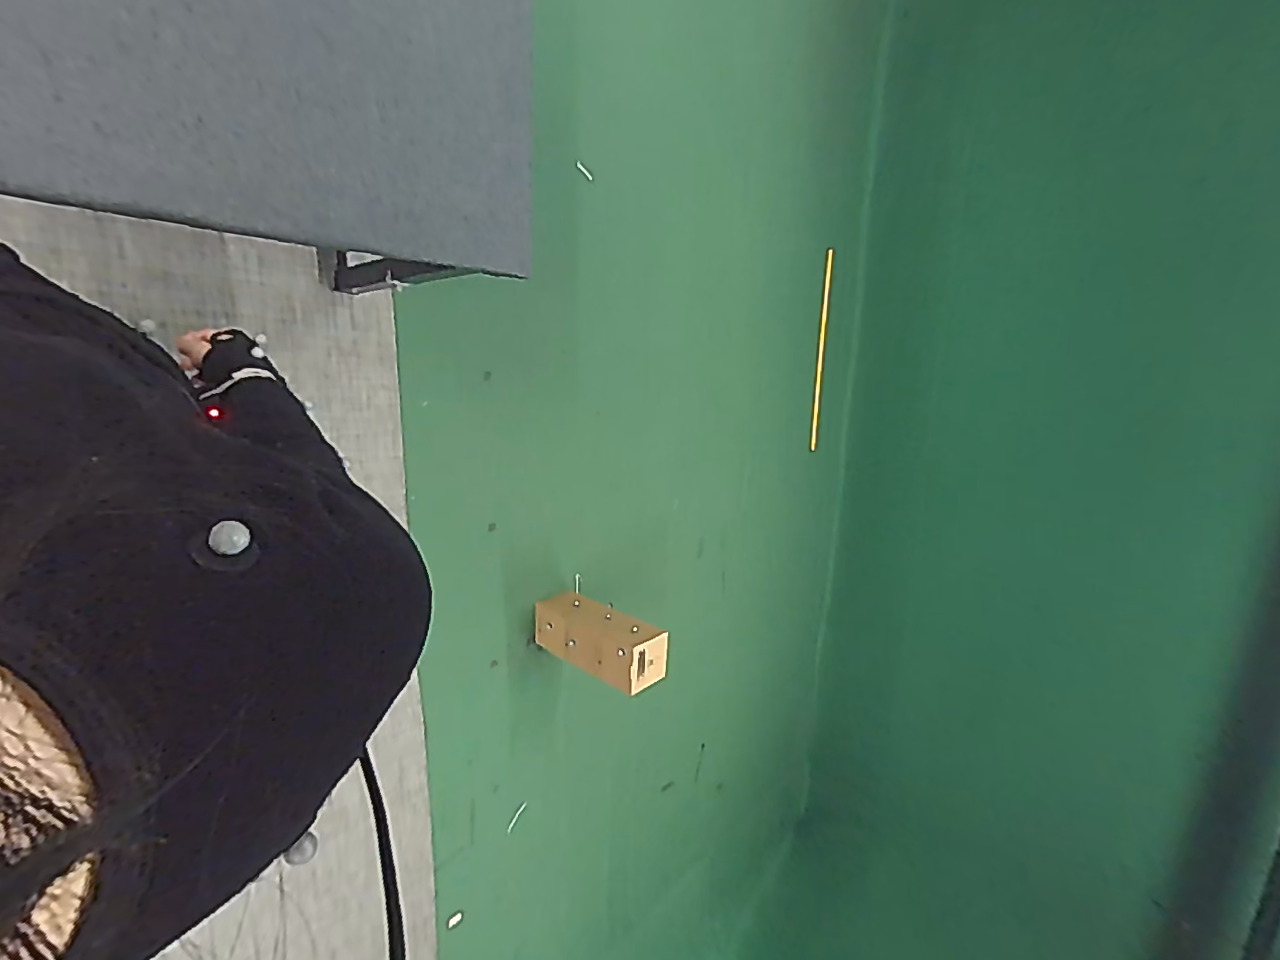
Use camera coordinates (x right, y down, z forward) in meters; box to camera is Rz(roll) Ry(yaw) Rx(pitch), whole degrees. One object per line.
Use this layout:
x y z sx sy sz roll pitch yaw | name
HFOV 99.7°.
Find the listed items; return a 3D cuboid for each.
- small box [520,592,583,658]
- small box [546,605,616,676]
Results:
-0.333 0.534 2.016 0.179 0.176 0.168 -10 107 -49 | small box
-0.208 0.558 1.910 0.179 0.176 0.168 -6 104 -49 | small box
